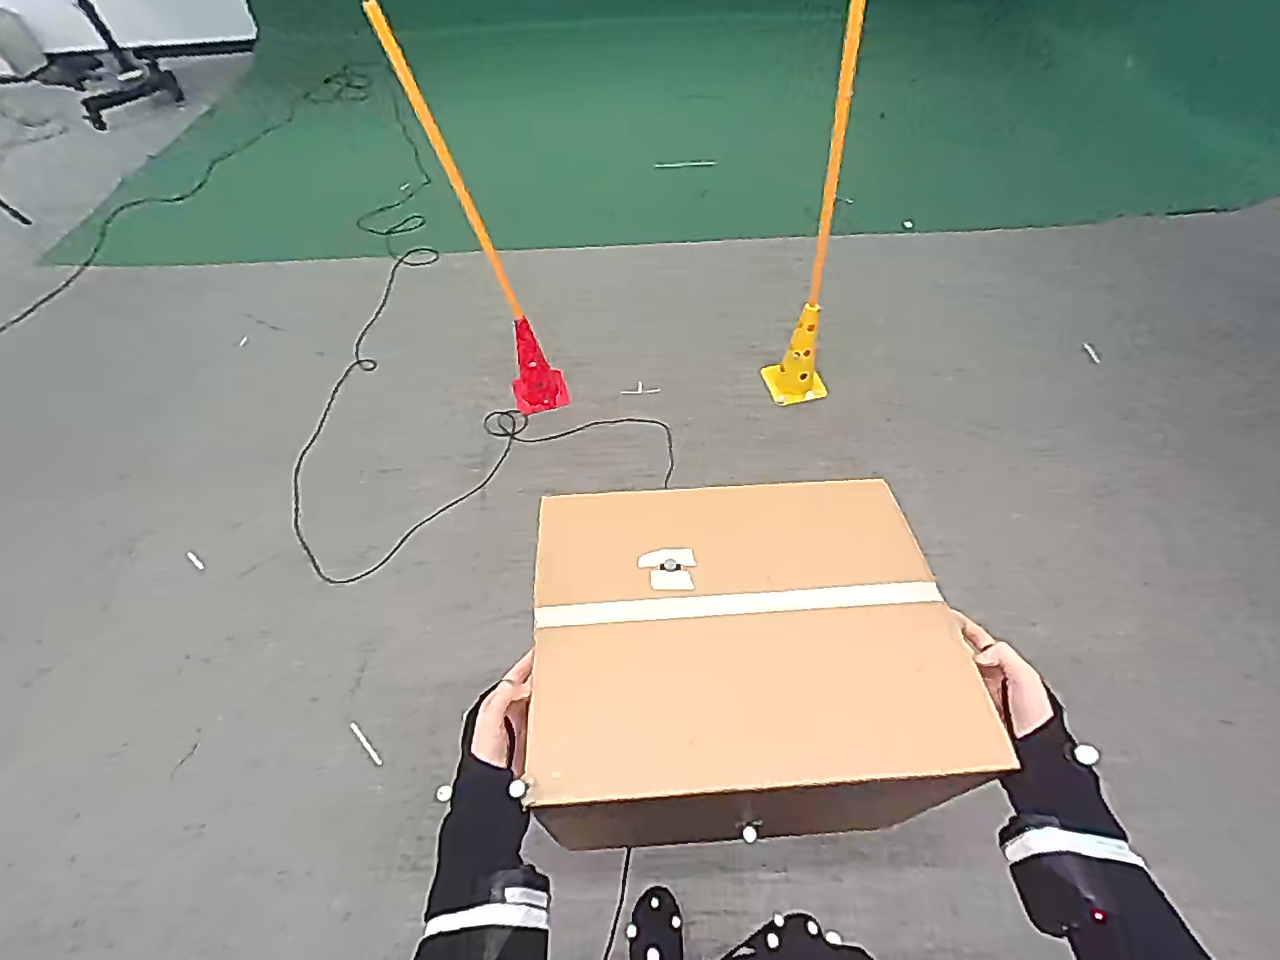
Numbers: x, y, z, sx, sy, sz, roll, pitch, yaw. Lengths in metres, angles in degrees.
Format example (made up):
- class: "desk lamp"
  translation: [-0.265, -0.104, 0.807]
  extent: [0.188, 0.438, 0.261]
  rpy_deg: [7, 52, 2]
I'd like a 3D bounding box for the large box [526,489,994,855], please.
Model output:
- class: "large box"
  translation: [0.096, 0.238, 0.655]
  extent: [0.408, 0.320, 0.320]
  rpy_deg: [-4, 49, -2]
